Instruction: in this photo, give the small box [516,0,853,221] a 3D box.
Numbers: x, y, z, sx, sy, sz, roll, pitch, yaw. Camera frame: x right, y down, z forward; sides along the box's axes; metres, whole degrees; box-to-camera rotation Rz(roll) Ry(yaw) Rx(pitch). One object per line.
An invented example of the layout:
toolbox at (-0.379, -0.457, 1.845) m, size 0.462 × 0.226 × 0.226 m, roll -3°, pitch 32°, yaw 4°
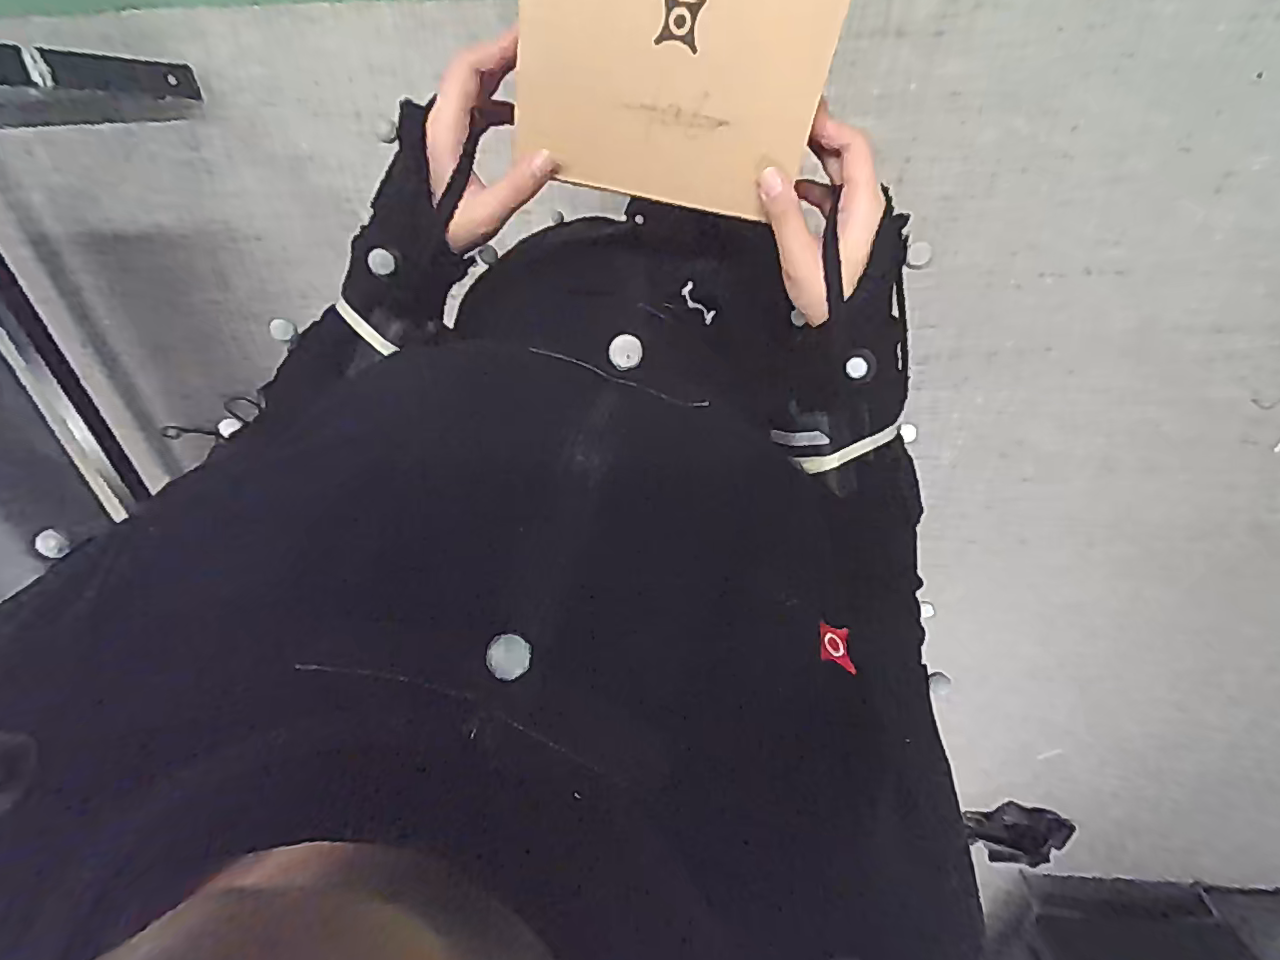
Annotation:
small box at (0.025, -0.286, 0.339) m, size 0.168 × 0.176 × 0.179 m, roll 9°, pitch 125°, yaw -5°
